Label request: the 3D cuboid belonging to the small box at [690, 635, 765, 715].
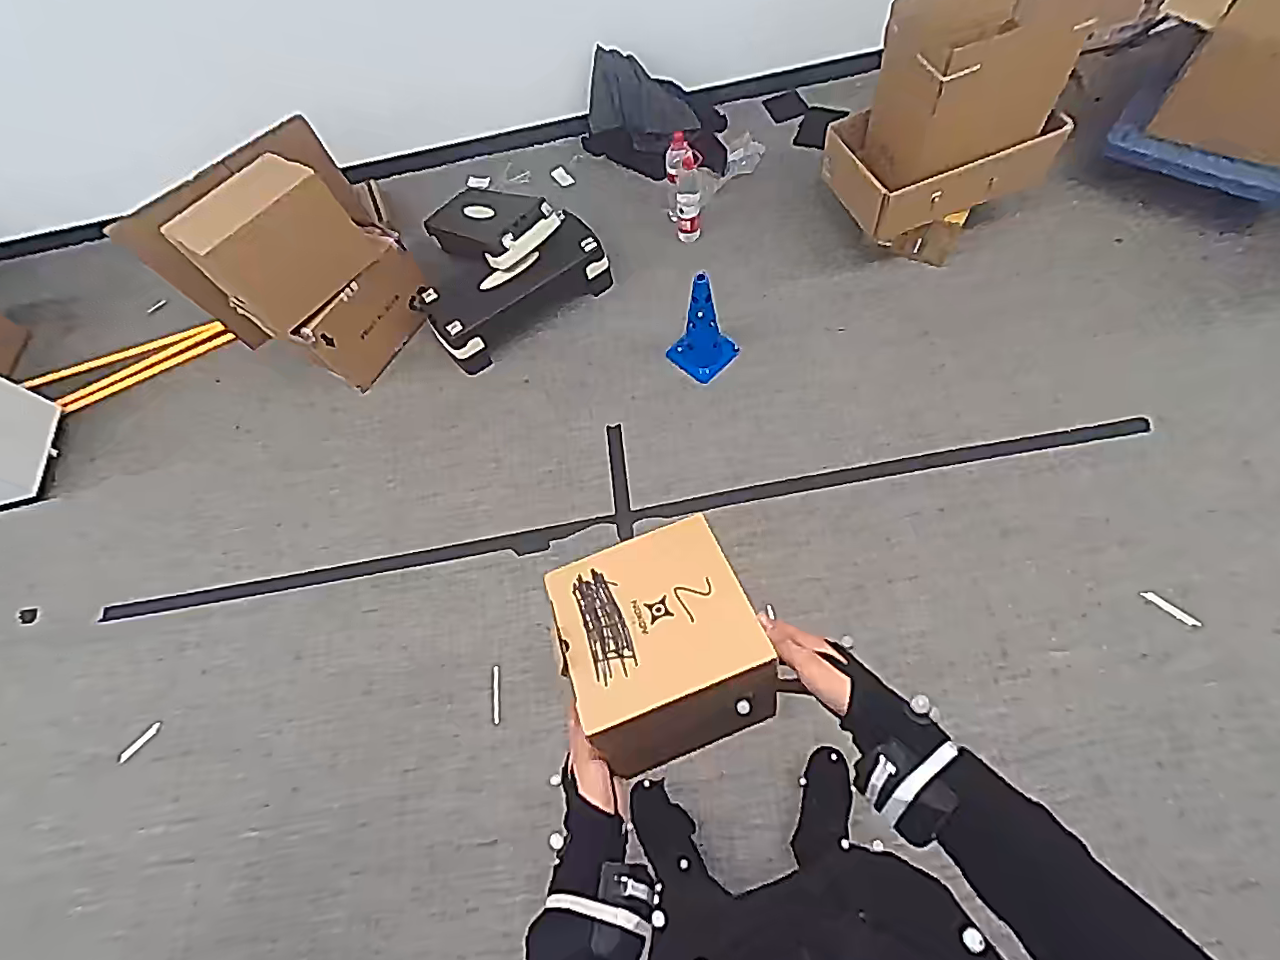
[{"bbox_3d":[0.223,0.507,1.396,0.168,0.176,0.179,-6,65,5],"label":"small box"}]
